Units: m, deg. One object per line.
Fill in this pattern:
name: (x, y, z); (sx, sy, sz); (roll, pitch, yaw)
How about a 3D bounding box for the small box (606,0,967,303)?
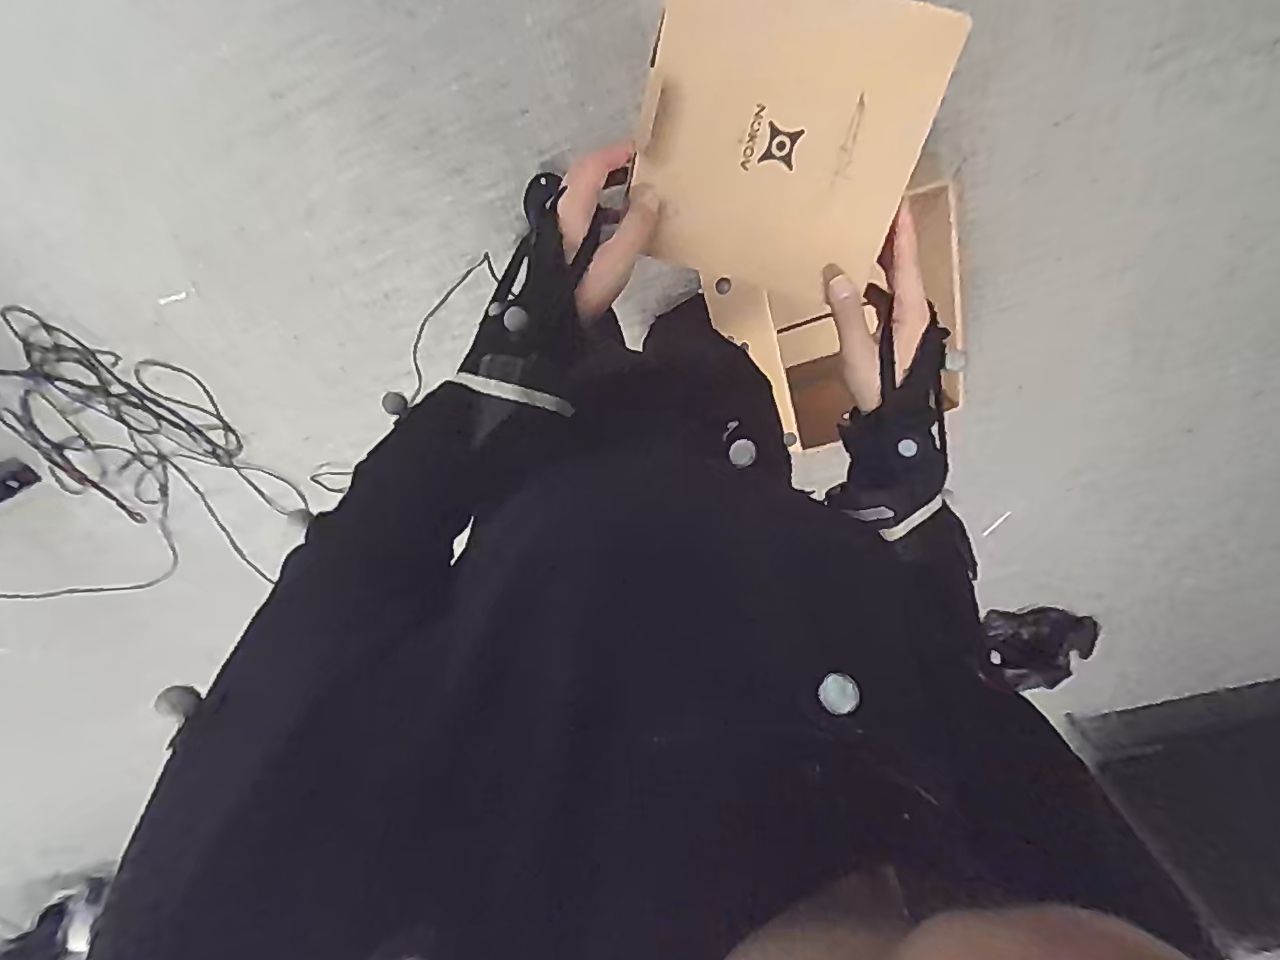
small box: (0.087, -0.243, 0.402); (0.179, 0.176, 0.168); (14, 116, 0)
